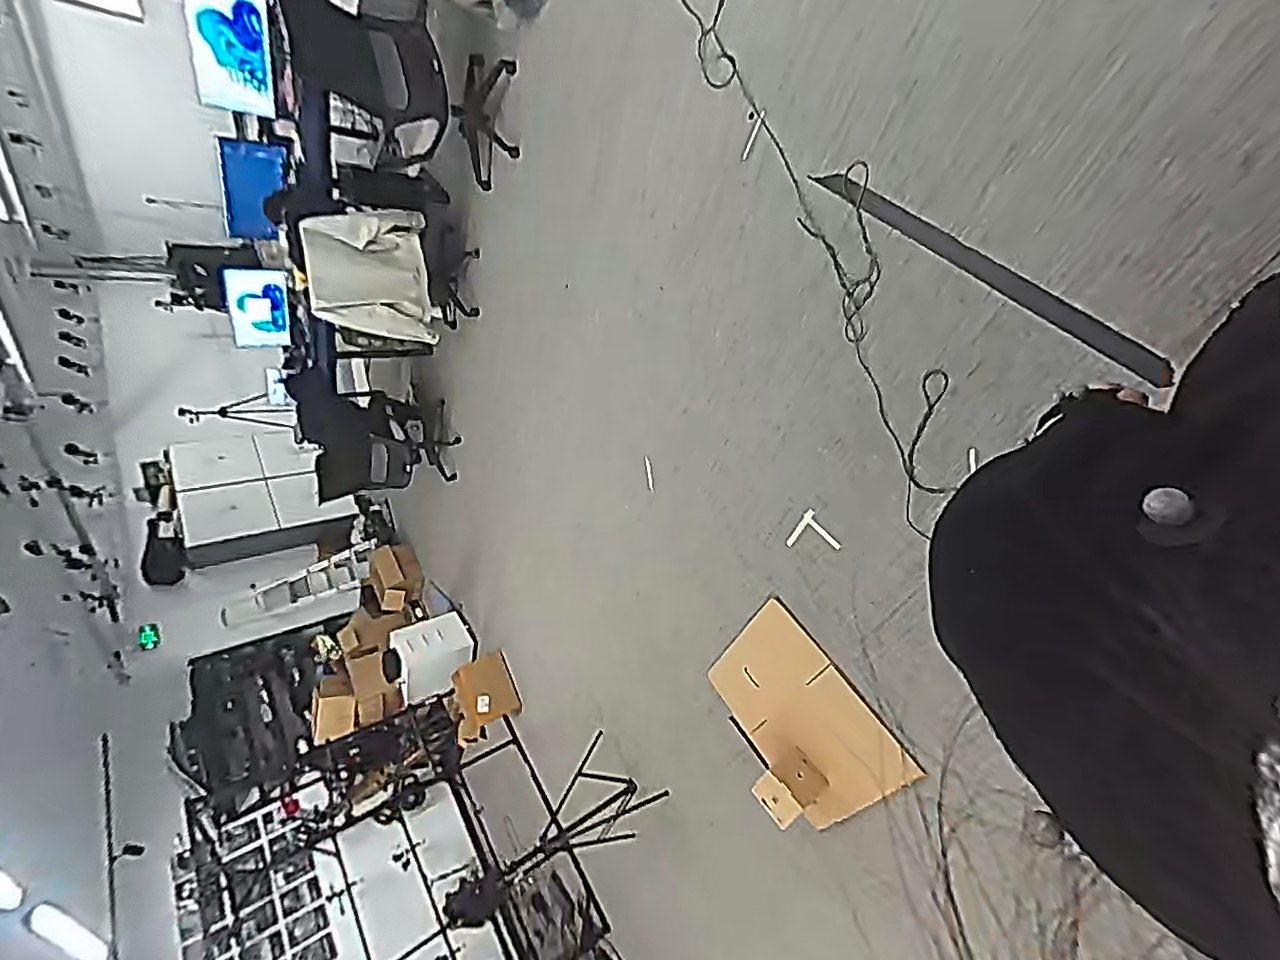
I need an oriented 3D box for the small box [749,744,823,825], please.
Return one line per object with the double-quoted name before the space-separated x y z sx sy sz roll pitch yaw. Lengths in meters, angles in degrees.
"small box" 0.540 1.108 1.979 0.168 0.176 0.179 45 132 33
